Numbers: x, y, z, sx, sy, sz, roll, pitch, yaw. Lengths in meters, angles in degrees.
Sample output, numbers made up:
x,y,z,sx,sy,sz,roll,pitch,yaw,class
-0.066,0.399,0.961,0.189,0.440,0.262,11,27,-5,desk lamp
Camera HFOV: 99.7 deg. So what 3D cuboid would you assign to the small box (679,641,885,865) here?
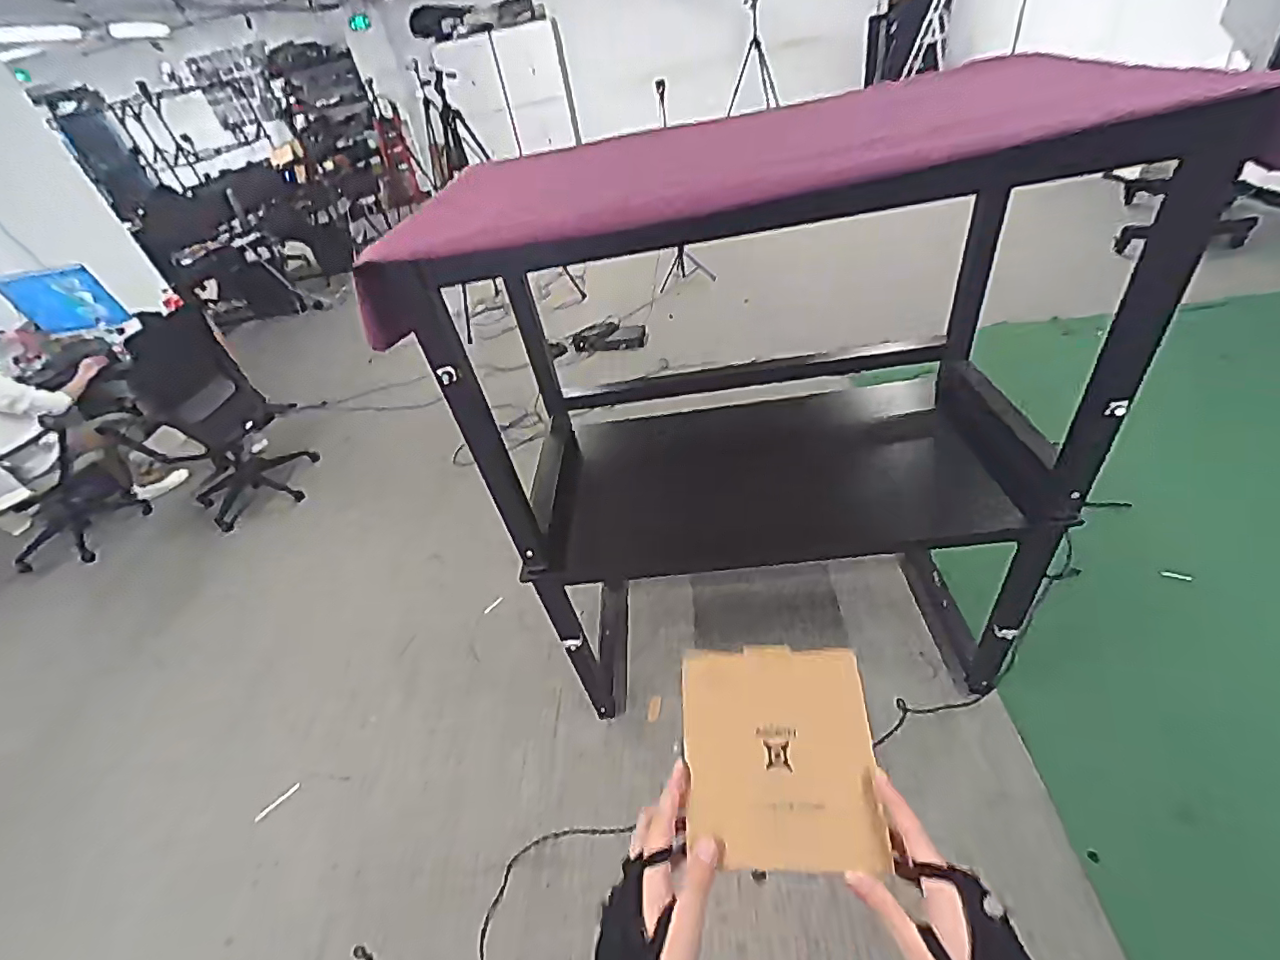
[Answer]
x,y,z,sx,sy,sz,roll,pitch,yaw,class
0.125,0.271,0.545,0.168,0.176,0.179,-3,60,7,small box
